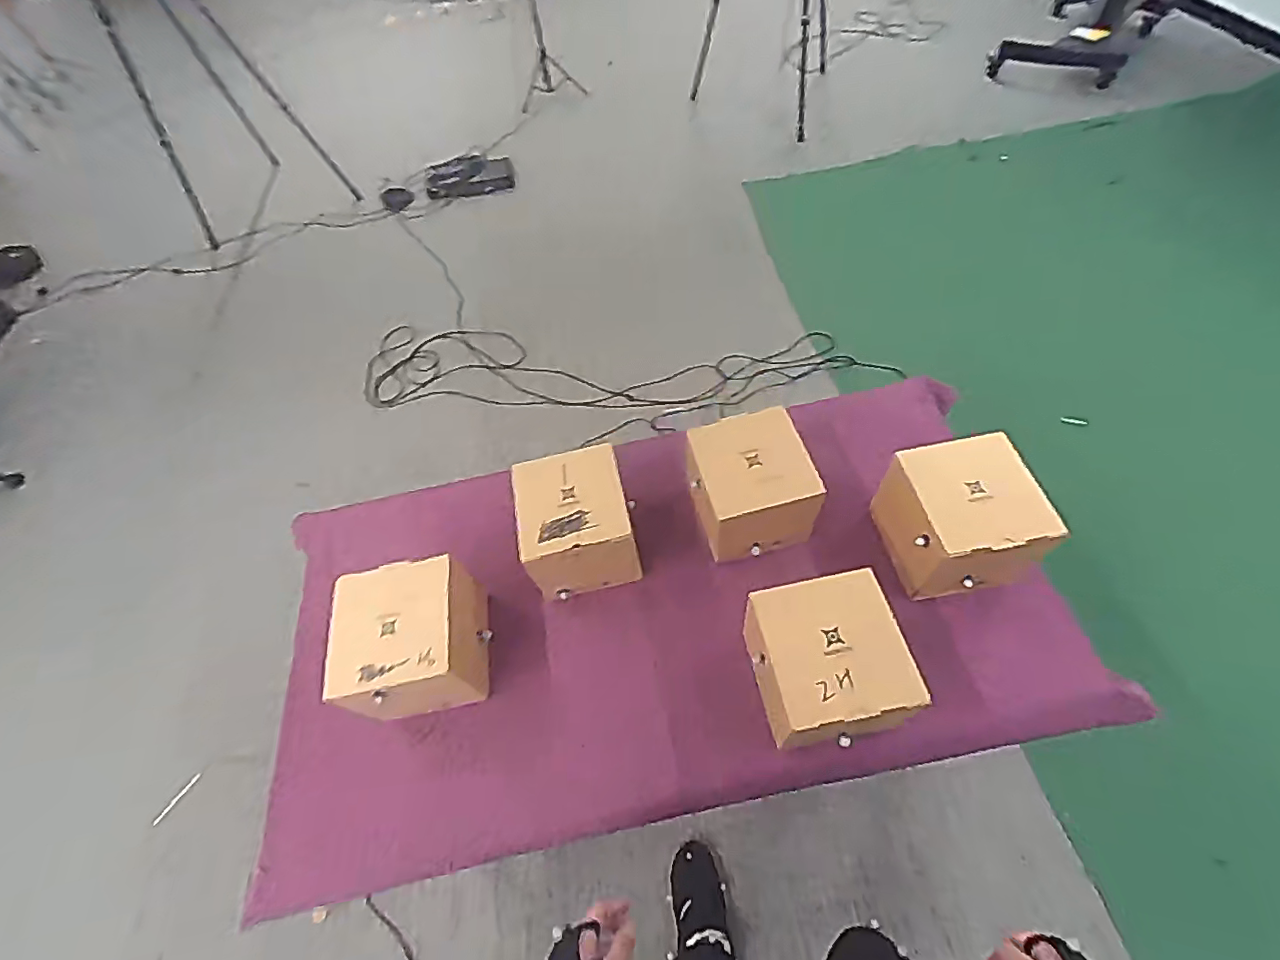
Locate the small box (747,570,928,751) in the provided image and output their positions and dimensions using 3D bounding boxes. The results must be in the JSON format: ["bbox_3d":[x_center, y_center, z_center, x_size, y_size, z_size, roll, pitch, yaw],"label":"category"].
[{"bbox_3d":[0.247,0.248,0.733,0.168,0.176,0.179,-12,55,0],"label":"small box"}]

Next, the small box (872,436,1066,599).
[{"bbox_3d":[0.480,0.062,0.828,0.168,0.176,0.179,-11,57,0],"label":"small box"}]

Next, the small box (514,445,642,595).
[{"bbox_3d":[-0.098,0.074,0.888,0.168,0.176,0.179,-13,56,-2],"label":"small box"}]

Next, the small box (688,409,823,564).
[{"bbox_3d":[0.179,0.015,0.894,0.168,0.176,0.179,-14,57,-1],"label":"small box"}]

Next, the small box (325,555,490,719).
[{"bbox_3d":[-0.331,0.238,0.807,0.168,0.176,0.179,-12,56,0],"label":"small box"}]
